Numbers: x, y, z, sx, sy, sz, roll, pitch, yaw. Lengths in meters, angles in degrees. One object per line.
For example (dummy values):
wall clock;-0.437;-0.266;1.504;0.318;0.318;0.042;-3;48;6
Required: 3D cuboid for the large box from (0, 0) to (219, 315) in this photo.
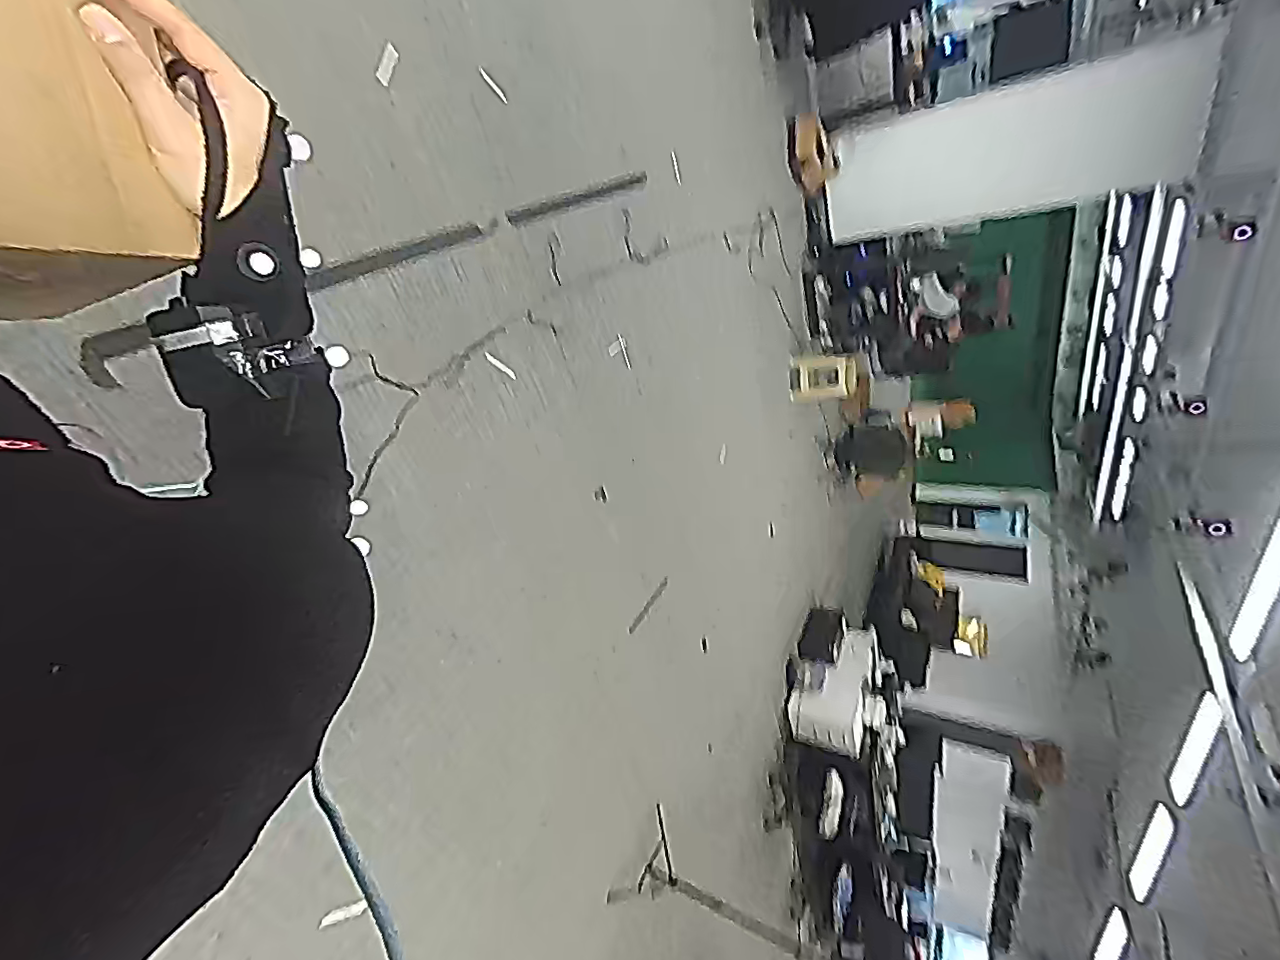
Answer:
large box;-0.500;-0.236;0.209;0.408;0.320;0.320;-27;116;-56
